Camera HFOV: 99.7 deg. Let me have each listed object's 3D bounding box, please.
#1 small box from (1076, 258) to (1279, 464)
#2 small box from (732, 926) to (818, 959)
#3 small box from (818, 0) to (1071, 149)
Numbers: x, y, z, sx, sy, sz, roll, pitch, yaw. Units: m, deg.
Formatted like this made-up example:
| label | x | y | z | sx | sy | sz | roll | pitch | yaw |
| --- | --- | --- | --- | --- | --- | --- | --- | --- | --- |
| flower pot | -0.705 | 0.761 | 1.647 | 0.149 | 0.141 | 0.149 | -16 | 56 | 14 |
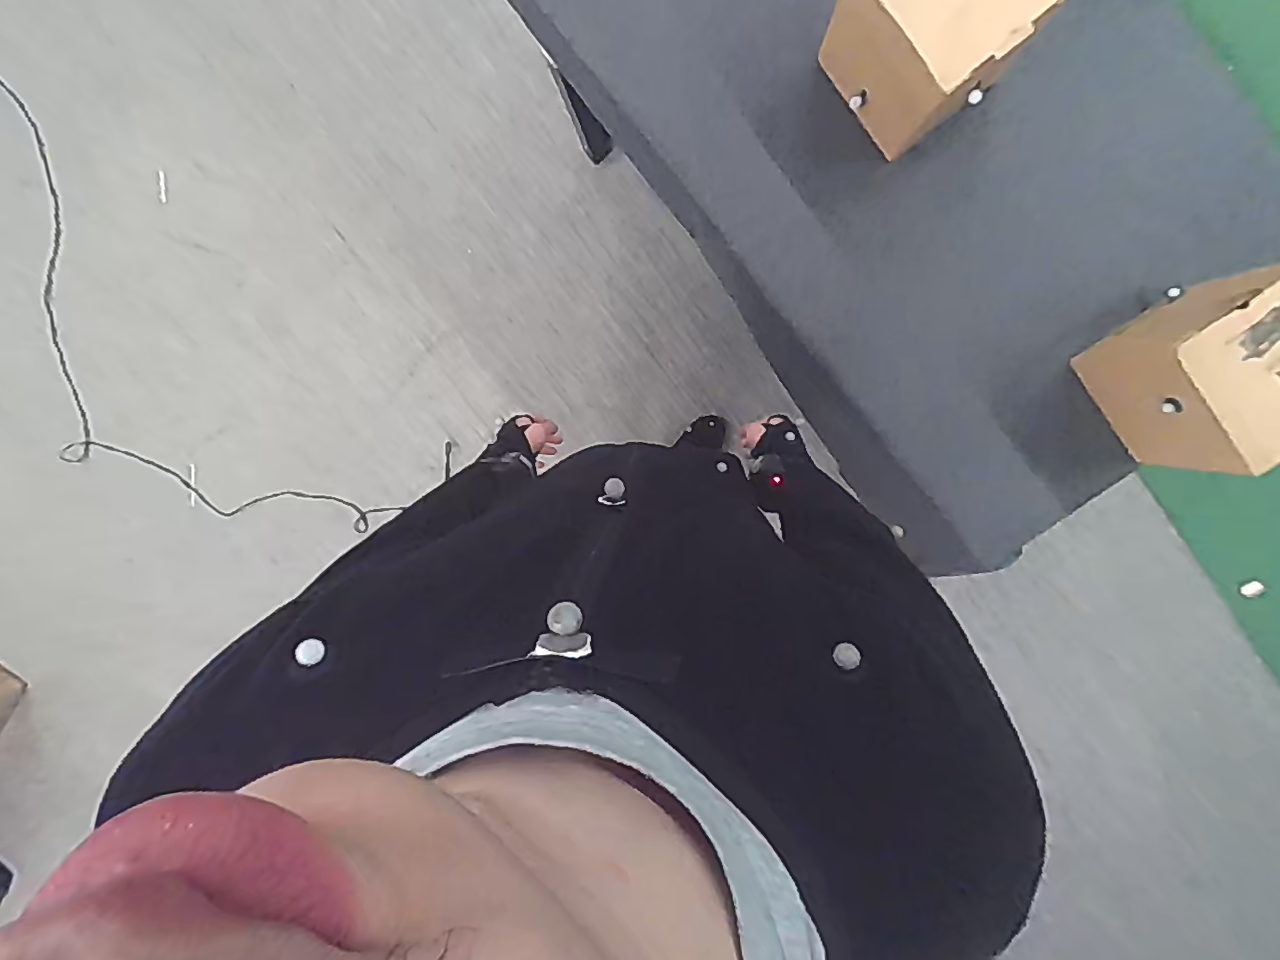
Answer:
| label | x | y | z | sx | sy | sz | roll | pitch | yaw |
| --- | --- | --- | --- | --- | --- | --- | --- | --- | --- |
| small box | 0.706 | -0.139 | 0.670 | 0.168 | 0.176 | 0.179 | -36 | 94 | 7 |
| small box | 0.257 | 0.966 | 0.962 | 0.179 | 0.176 | 0.168 | -40 | 95 | 7 |
| small box | 0.345 | -0.538 | 0.645 | 0.168 | 0.176 | 0.179 | -38 | 94 | 7 |
